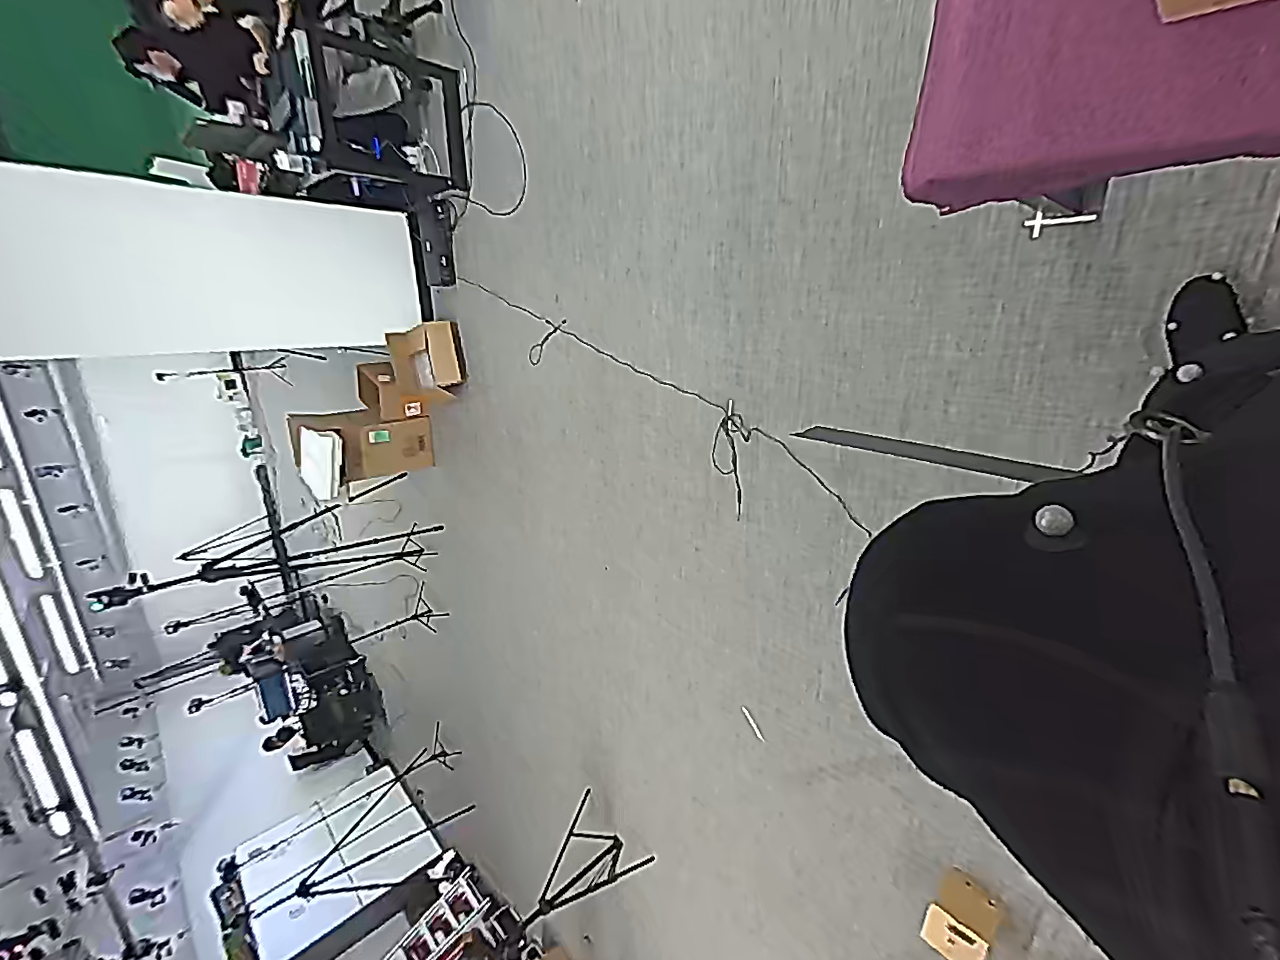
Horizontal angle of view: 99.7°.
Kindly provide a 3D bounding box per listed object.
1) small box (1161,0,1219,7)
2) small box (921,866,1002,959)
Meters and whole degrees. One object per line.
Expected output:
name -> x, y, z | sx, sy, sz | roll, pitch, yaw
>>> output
small box -> 0.572, -0.549, 0.462 | 0.168, 0.176, 0.179 | 21, 117, 42
small box -> 1.031, 1.398, 1.727 | 0.168, 0.176, 0.179 | 22, 119, 42
